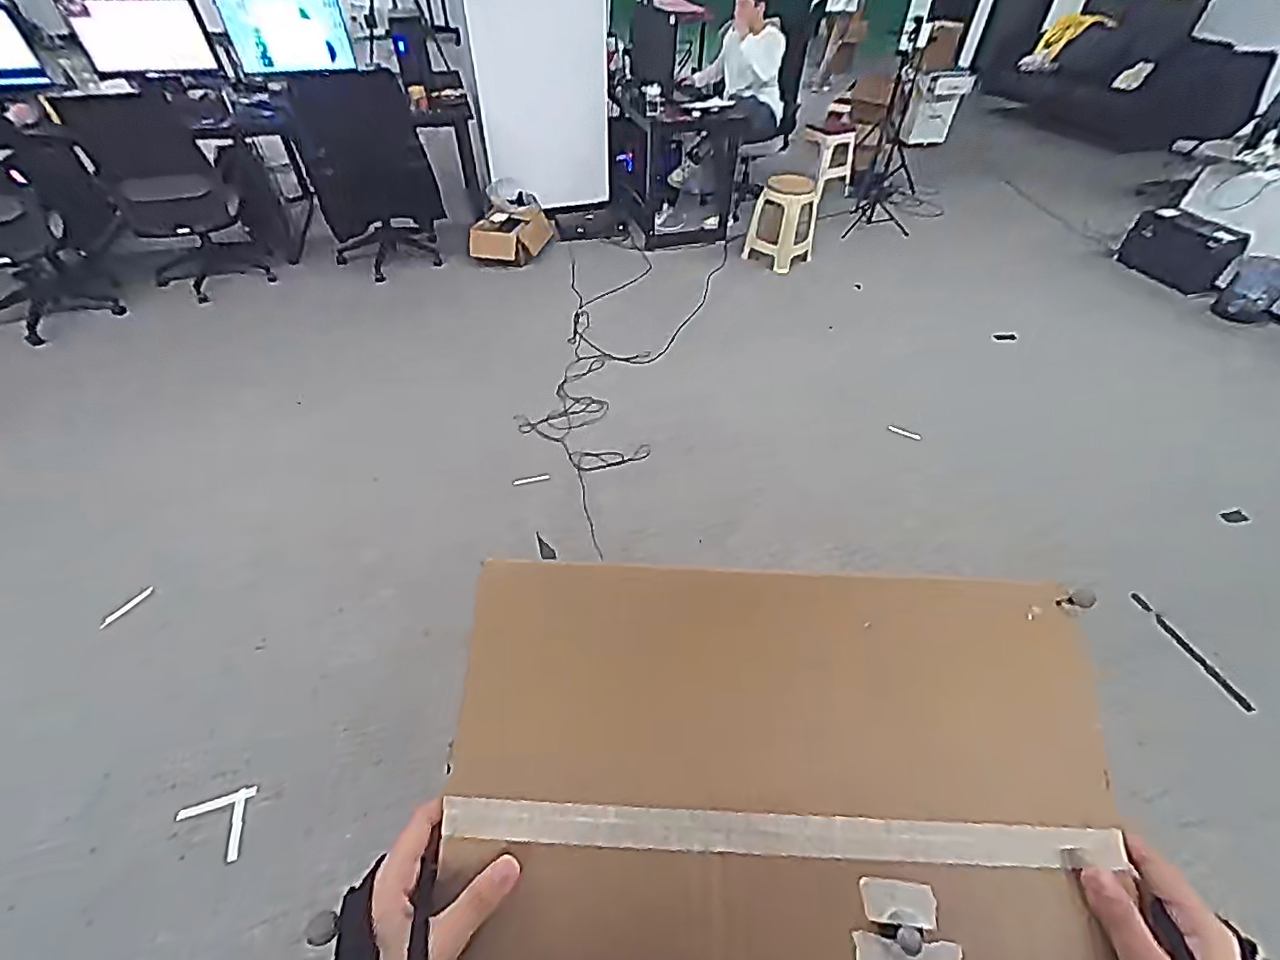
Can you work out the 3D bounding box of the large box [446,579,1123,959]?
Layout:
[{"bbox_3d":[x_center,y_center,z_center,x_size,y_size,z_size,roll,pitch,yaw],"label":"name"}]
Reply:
[{"bbox_3d":[0.083,0.271,0.476,0.408,0.320,0.320,2,71,0],"label":"large box"}]
